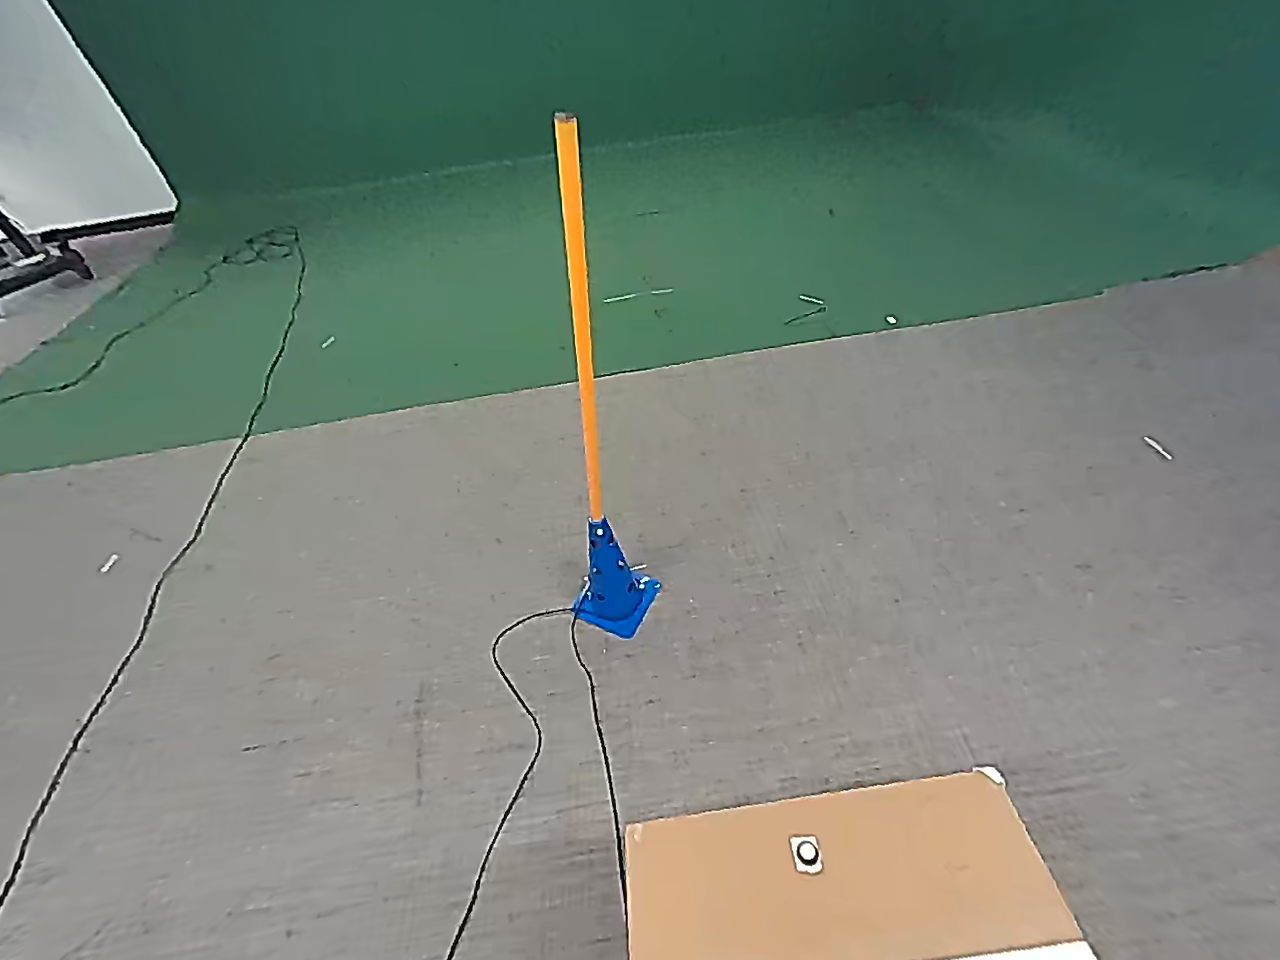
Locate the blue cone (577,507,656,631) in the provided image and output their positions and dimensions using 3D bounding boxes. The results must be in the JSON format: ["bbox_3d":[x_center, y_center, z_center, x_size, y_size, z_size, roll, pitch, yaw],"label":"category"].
[{"bbox_3d":[-0.080,0.206,1.399,0.192,0.380,0.193,15,49,21],"label":"blue cone"}]
